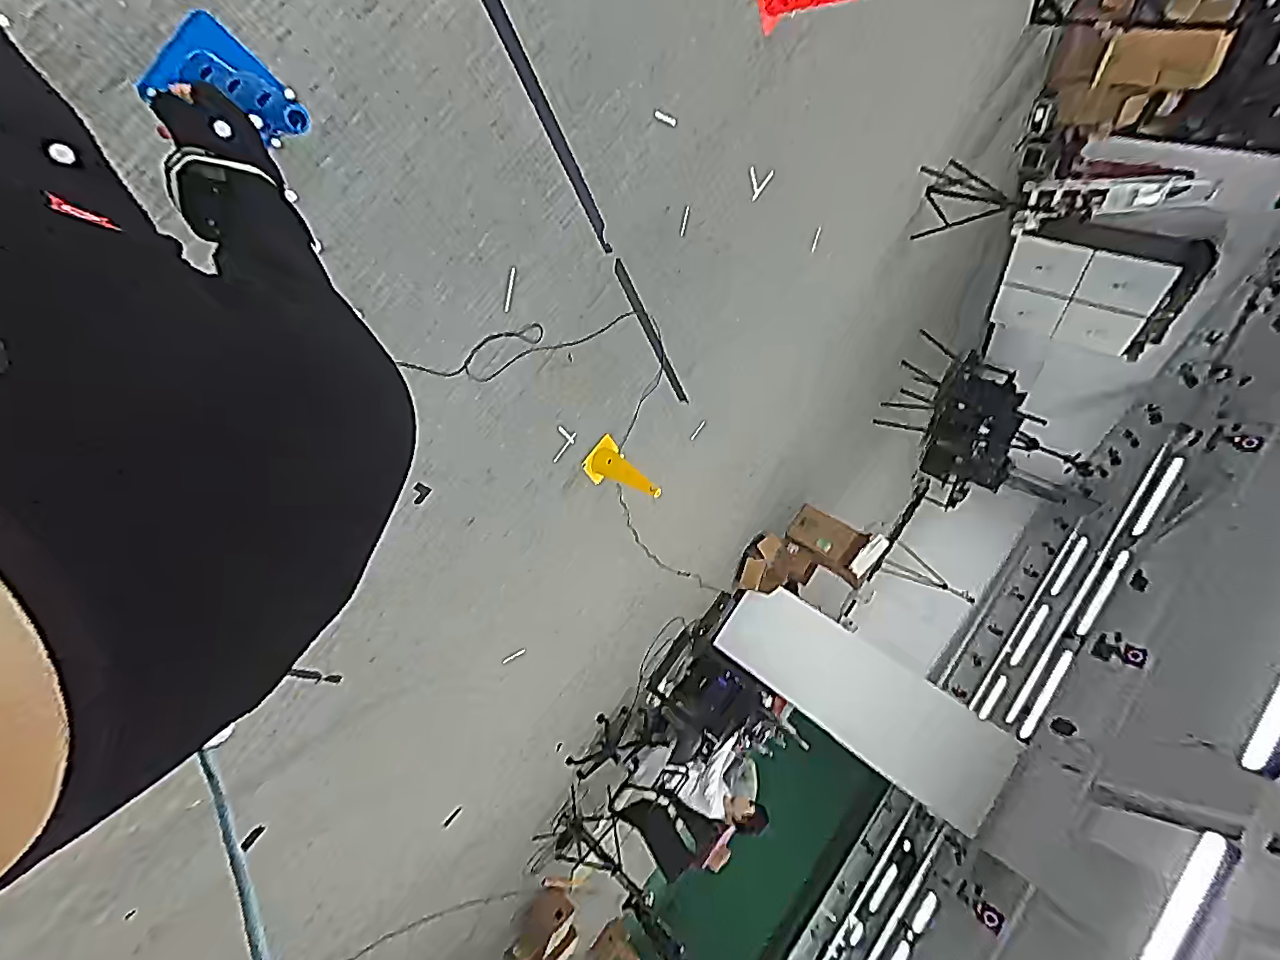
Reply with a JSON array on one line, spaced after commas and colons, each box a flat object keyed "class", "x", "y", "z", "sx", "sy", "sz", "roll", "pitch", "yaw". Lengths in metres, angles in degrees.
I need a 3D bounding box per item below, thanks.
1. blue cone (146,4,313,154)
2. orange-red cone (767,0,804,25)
[{"class": "blue cone", "x": -0.684, "y": -0.688, "z": 0.959, "sx": 0.192, "sy": 0.380, "sz": 0.193, "roll": -56, "pitch": 149, "yaw": -4}, {"class": "orange-red cone", "x": 0.646, "y": -1.767, "z": 1.907, "sx": 0.198, "sy": 0.360, "sz": 0.199, "roll": -56, "pitch": 148, "yaw": -5}]
